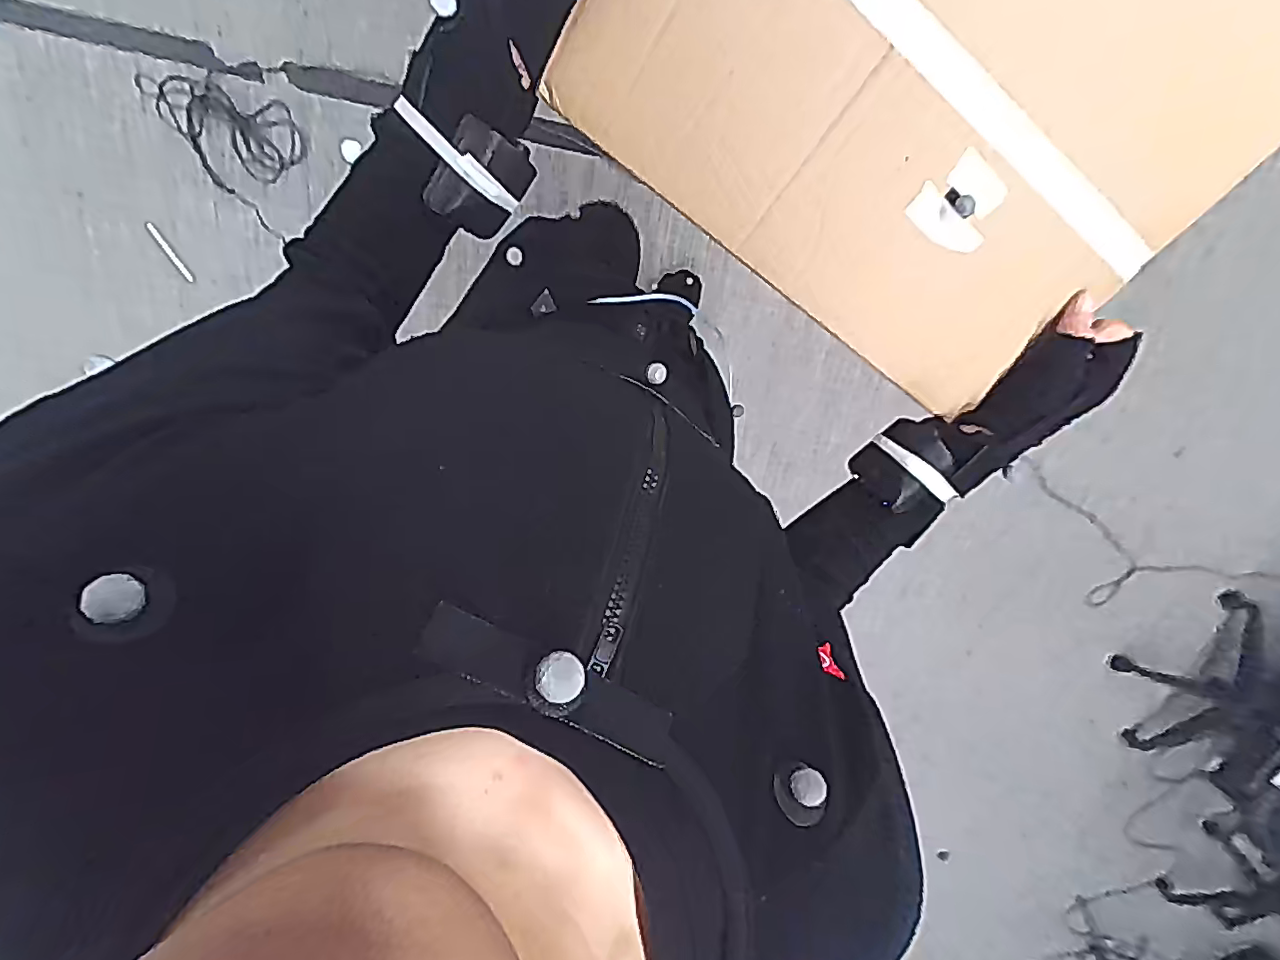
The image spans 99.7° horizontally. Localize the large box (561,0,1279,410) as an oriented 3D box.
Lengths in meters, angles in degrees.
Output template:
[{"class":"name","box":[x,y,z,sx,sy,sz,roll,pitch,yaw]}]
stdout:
[{"class":"large box","box":[0.197,-0.337,0.466,0.408,0.320,0.320,31,120,-16]}]
